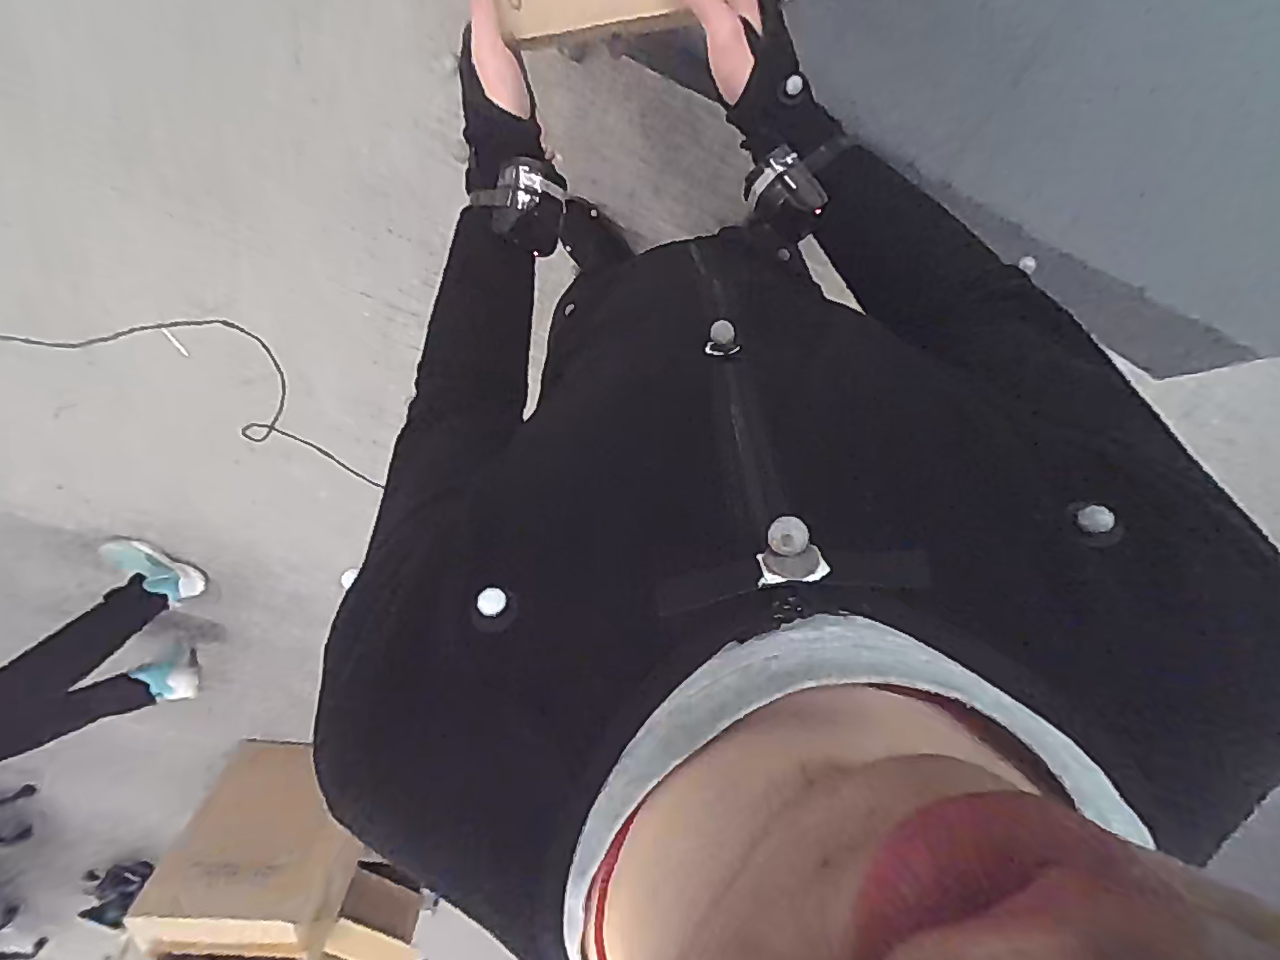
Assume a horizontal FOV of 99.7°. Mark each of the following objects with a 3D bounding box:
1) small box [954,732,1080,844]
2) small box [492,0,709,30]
[{"bbox_3d":[0.946,0.784,1.383,0.168,0.176,0.179,21,115,-14],"label":"small box"},{"bbox_3d":[-0.030,-0.450,0.396,0.179,0.176,0.168,-7,125,0],"label":"small box"}]
